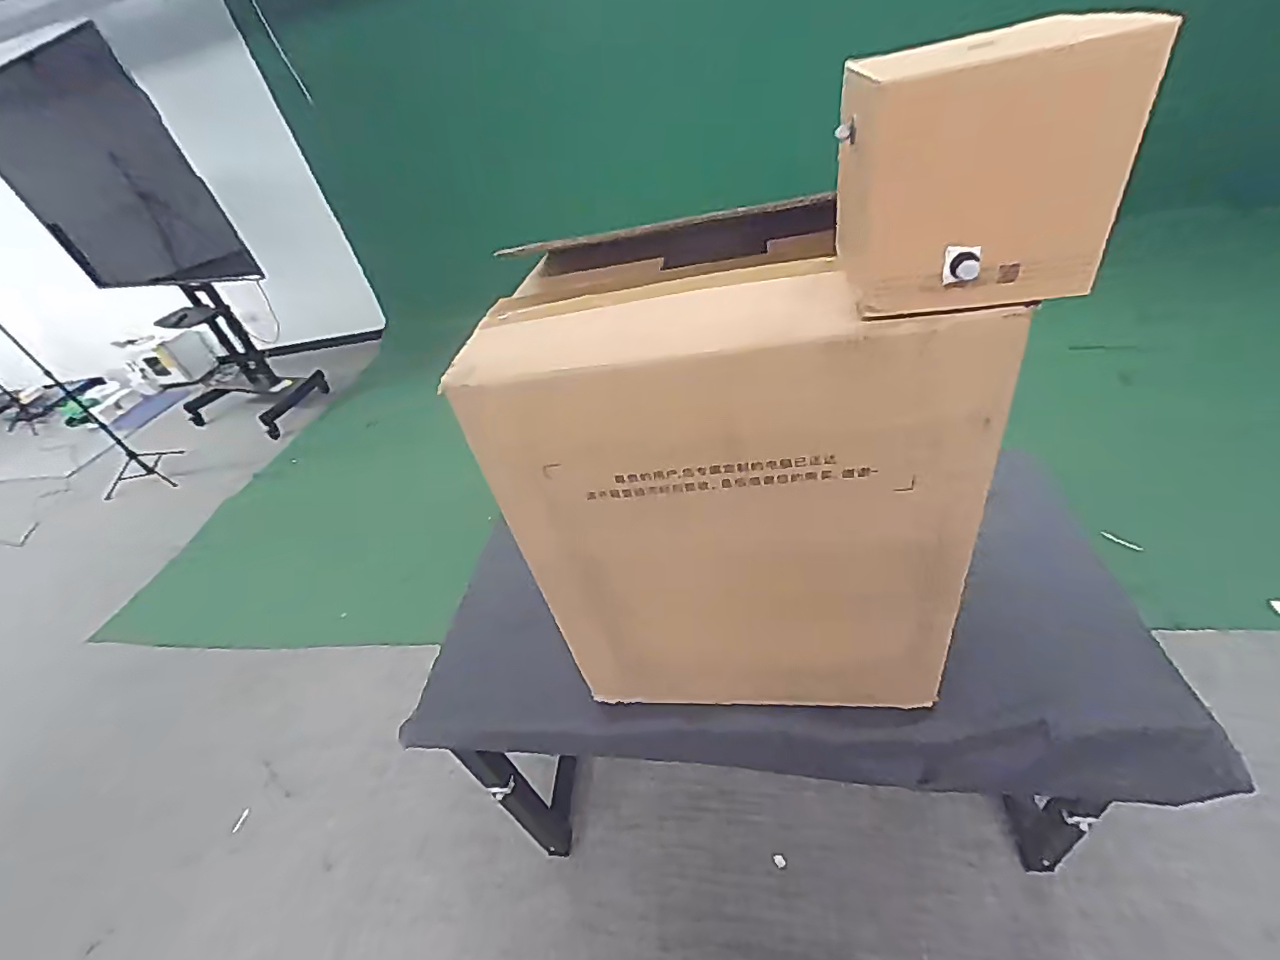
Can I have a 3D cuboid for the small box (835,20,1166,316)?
[{"bbox_3d":[0.261,-0.256,0.452,0.168,0.176,0.179,-5,40,13],"label":"small box"}]
